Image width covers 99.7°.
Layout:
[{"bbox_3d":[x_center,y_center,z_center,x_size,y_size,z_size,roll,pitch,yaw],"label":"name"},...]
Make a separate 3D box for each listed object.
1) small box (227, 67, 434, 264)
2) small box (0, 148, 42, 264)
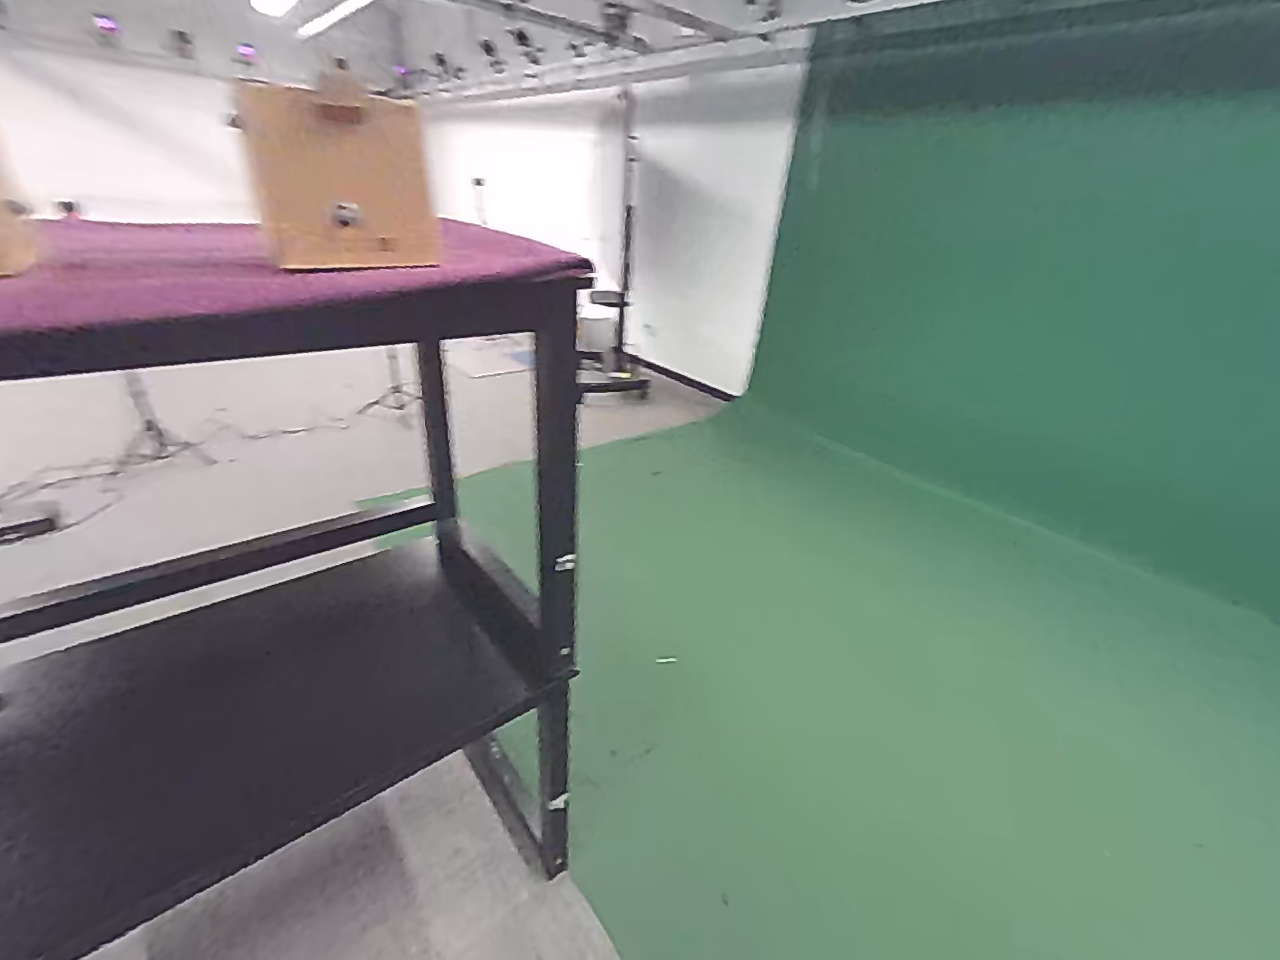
[{"bbox_3d":[-0.354,-0.349,0.627,0.168,0.176,0.179,-17,33,-32],"label":"small box"},{"bbox_3d":[-0.639,-0.261,0.424,0.179,0.176,0.168,-17,33,-35],"label":"small box"}]
